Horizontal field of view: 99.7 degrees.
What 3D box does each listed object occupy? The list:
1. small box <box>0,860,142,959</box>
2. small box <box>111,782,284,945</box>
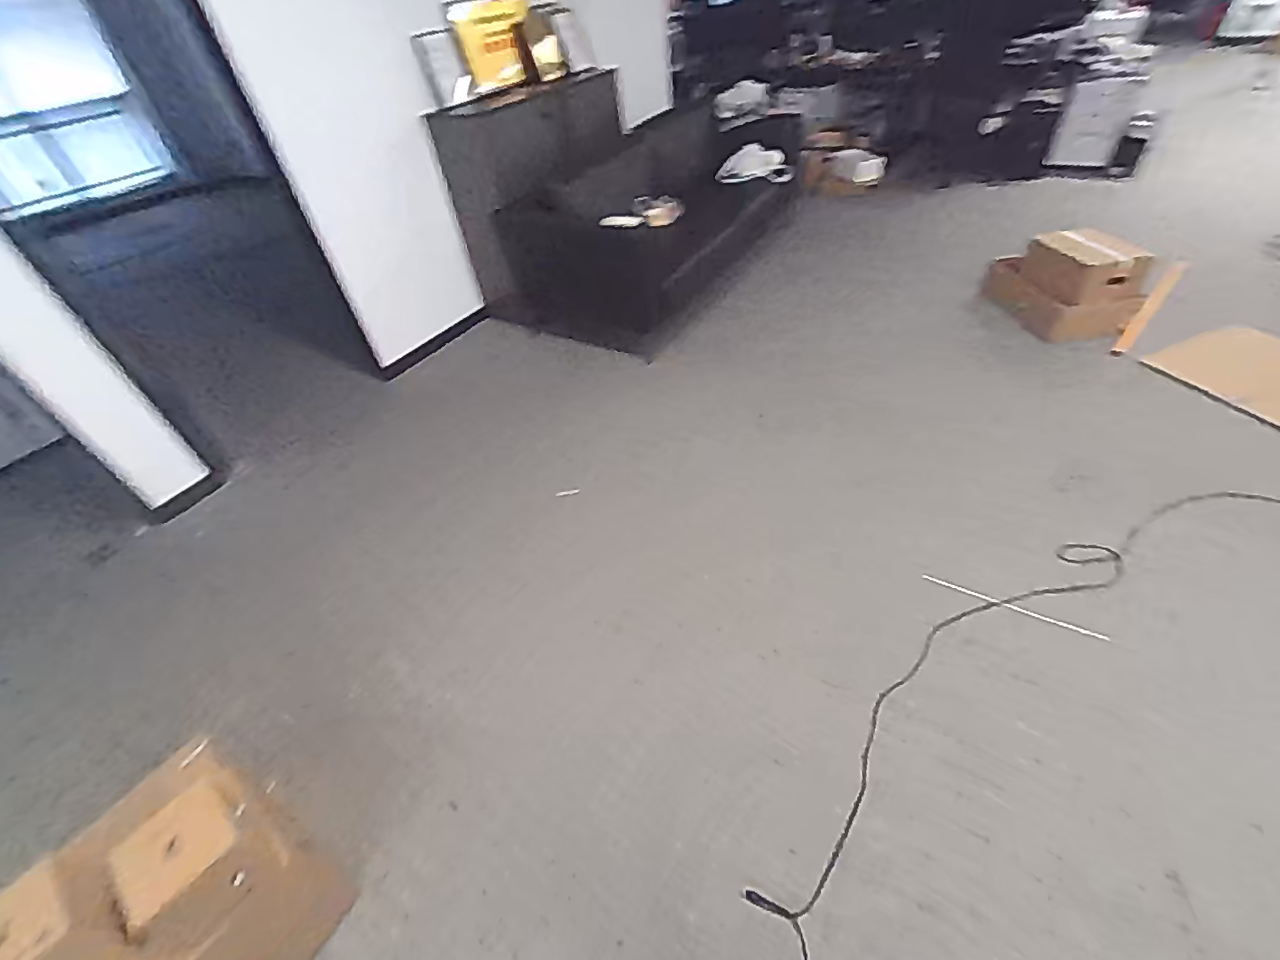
[{"bbox_3d":[-1.025,0.814,0.932,0.179,0.176,0.168,23,52,33],"label":"small box"},{"bbox_3d":[-0.809,0.712,1.003,0.179,0.176,0.168,25,51,33],"label":"small box"}]
